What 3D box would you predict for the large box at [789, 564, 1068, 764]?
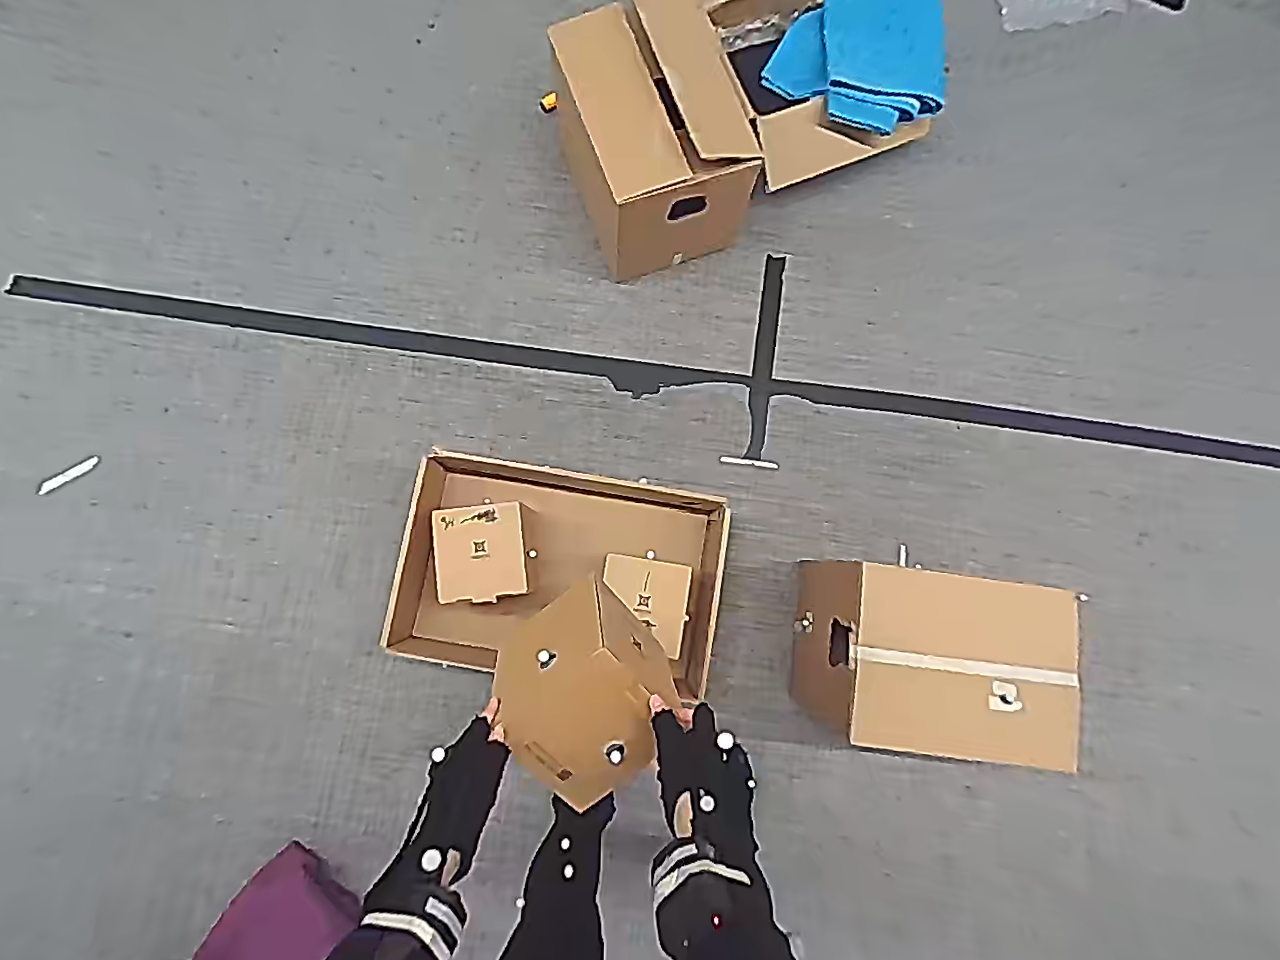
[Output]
[{"bbox_3d":[0.550,0.347,1.099,0.408,0.320,0.320,8,81,-3],"label":"large box"}]
